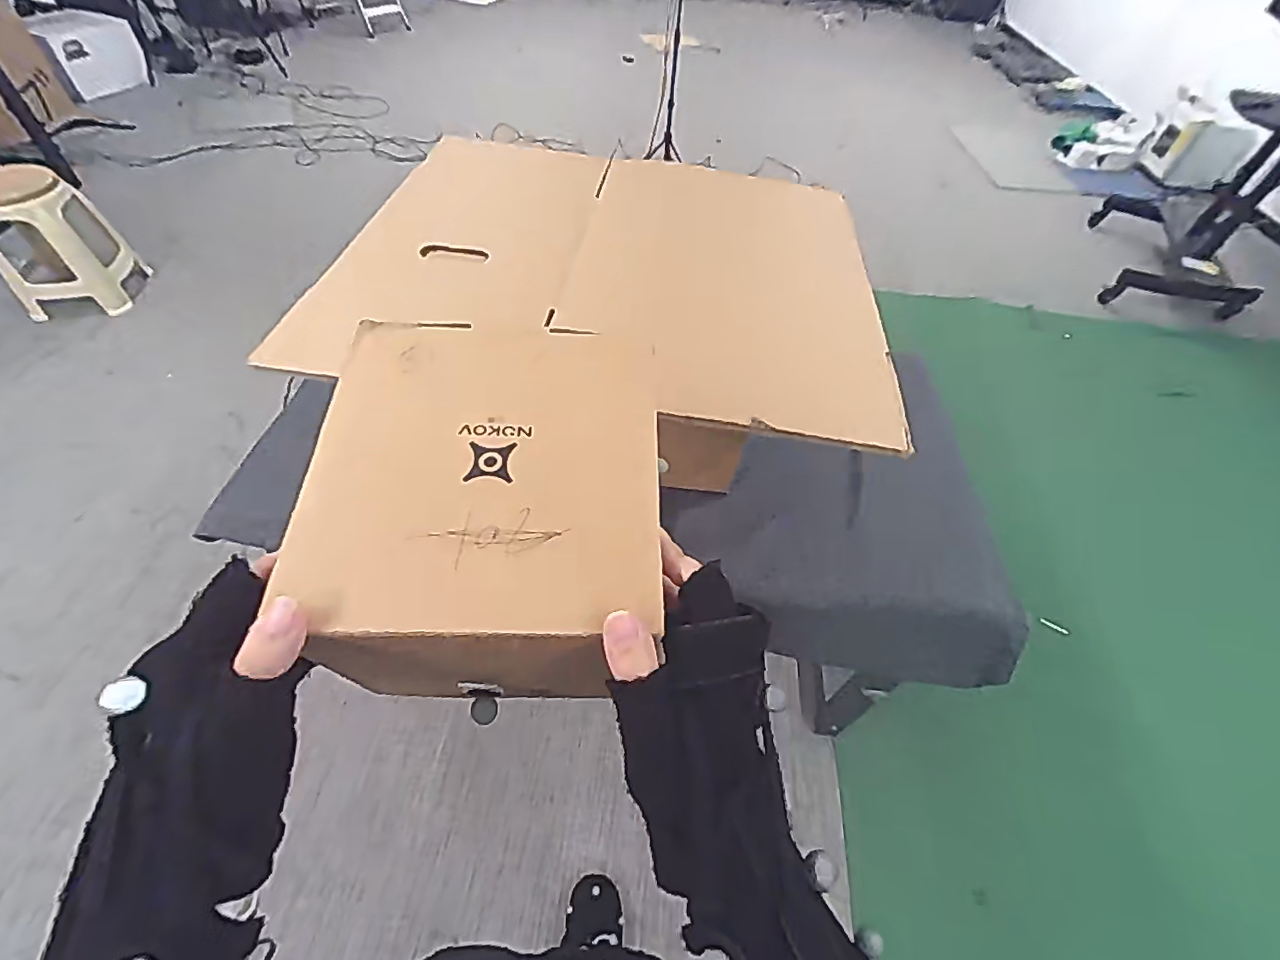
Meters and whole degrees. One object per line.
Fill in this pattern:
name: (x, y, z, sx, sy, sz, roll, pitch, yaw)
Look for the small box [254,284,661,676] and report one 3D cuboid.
small box: (-0.080, 0.011, 0.329, 0.168, 0.176, 0.179, 2, 60, -5)
